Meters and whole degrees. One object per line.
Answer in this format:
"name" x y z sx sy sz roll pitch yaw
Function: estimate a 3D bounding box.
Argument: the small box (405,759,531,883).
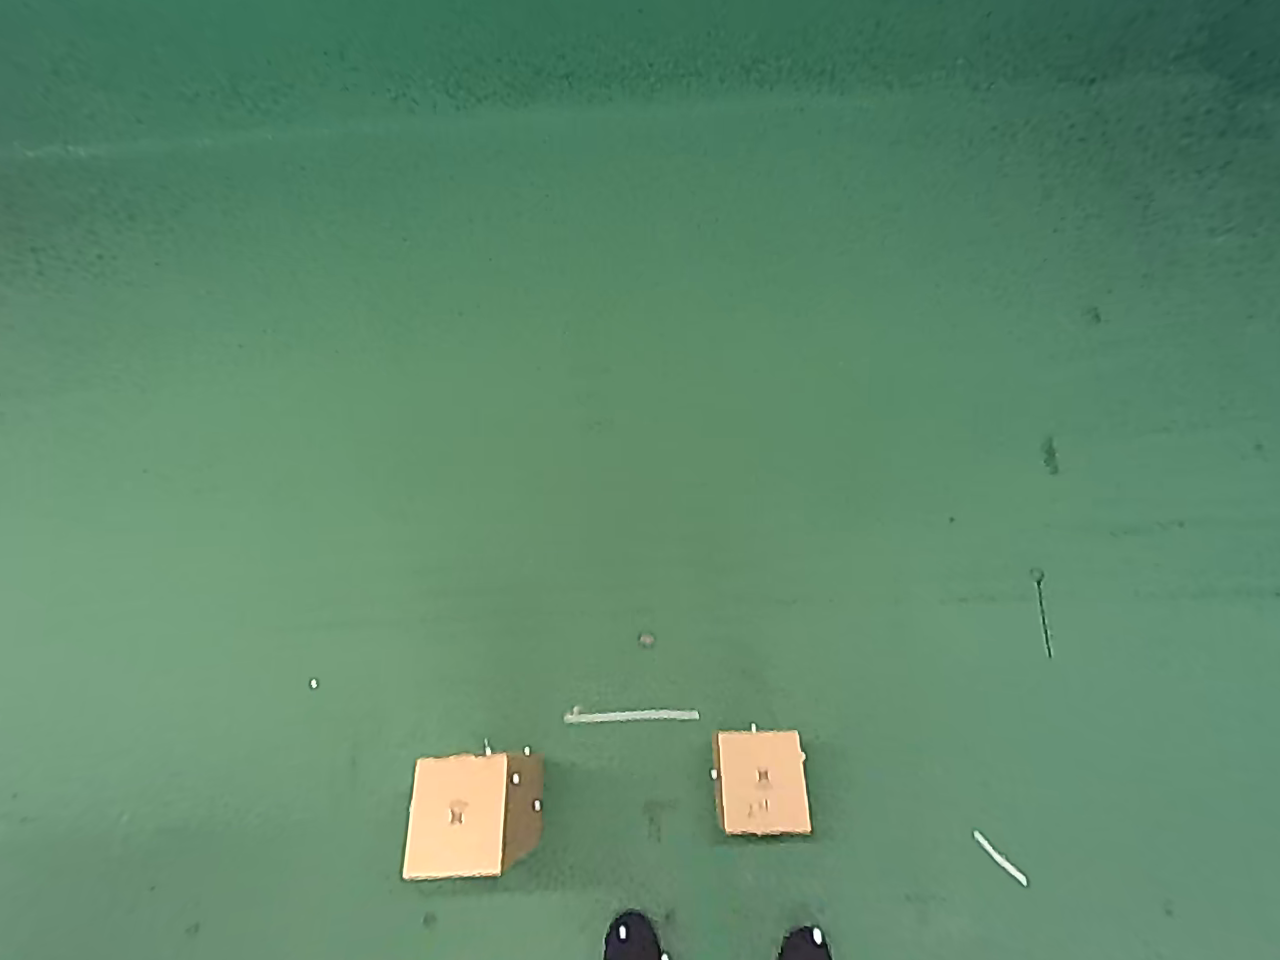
"small box" -0.302 0.613 0.990 0.168 0.176 0.179 -4 61 2

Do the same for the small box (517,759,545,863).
"small box" -0.298 0.688 1.133 0.168 0.176 0.179 -3 63 2

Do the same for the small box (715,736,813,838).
"small box" 0.249 0.638 1.133 0.168 0.176 0.179 -1 63 2
